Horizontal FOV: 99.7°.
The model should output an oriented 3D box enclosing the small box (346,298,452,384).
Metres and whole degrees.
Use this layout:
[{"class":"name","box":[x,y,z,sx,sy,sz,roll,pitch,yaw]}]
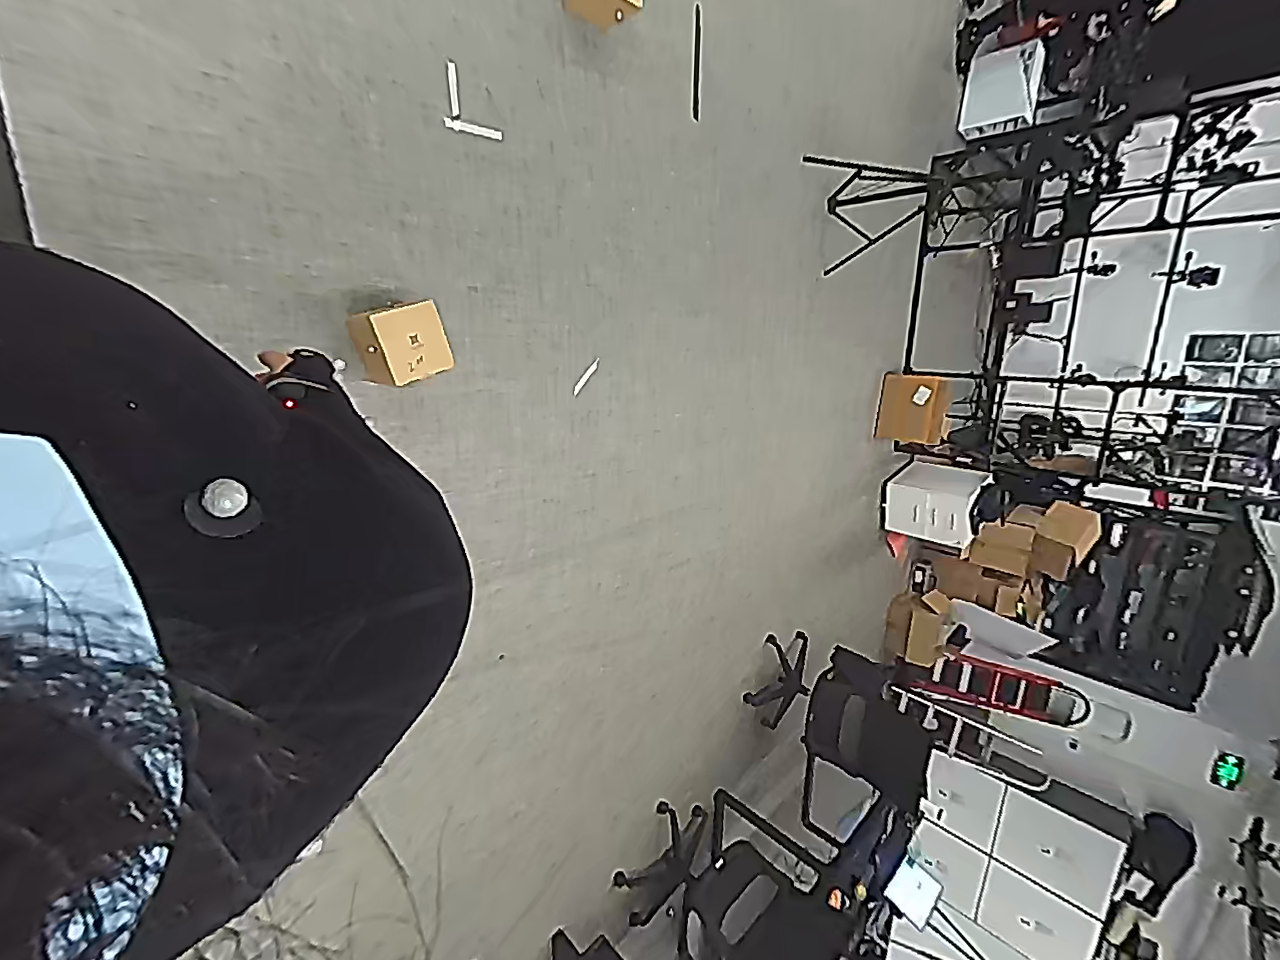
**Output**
[{"class":"small box","box":[-0.616,-0.356,1.379,0.168,0.176,0.179,-32,123,-36]}]
